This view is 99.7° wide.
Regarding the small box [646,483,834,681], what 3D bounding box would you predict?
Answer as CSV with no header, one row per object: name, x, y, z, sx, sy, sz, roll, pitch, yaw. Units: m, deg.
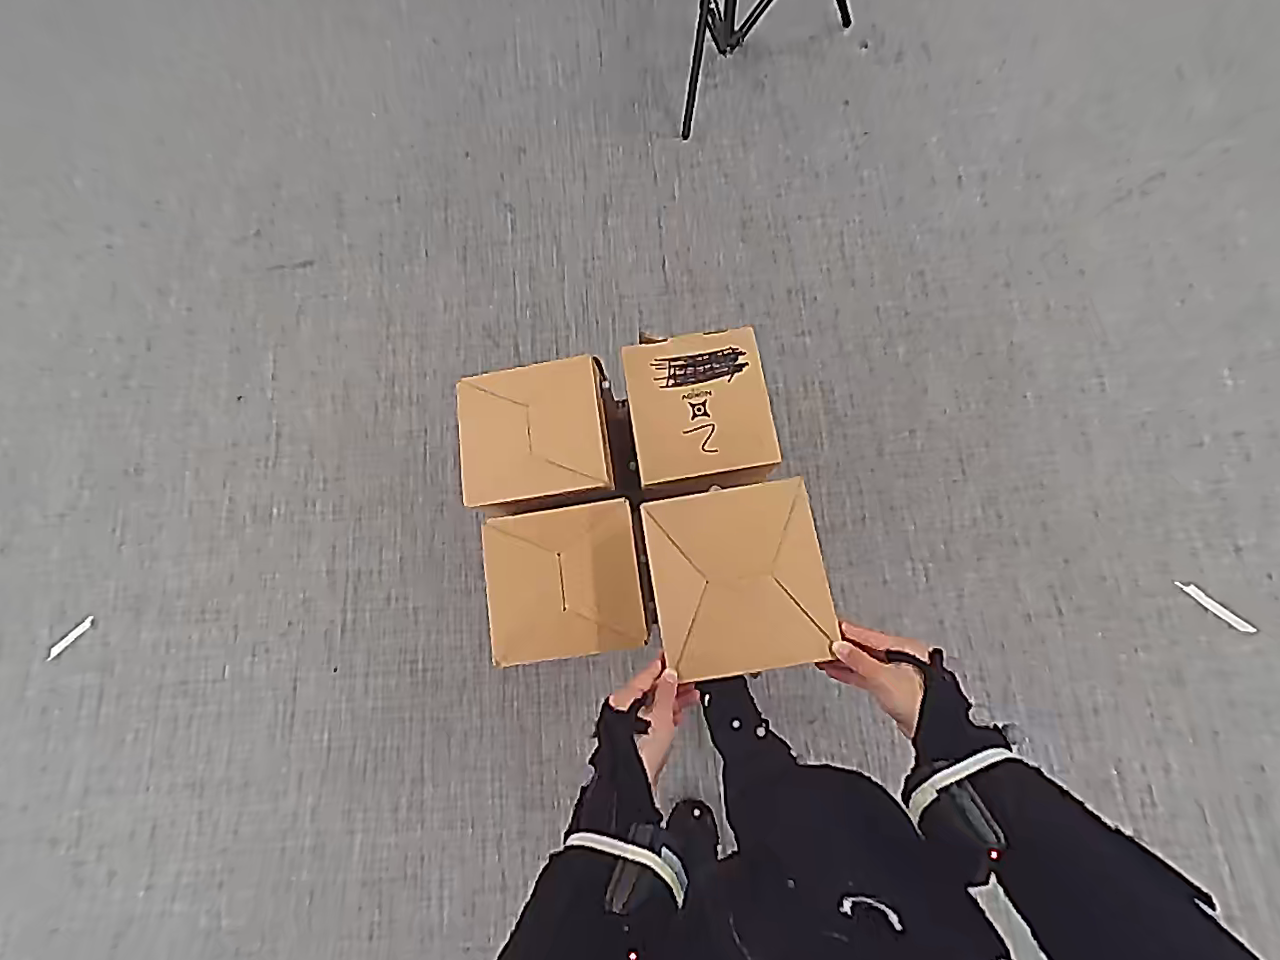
small box,0.100,0.116,0.602,0.168,0.176,0.179,-10,76,0
